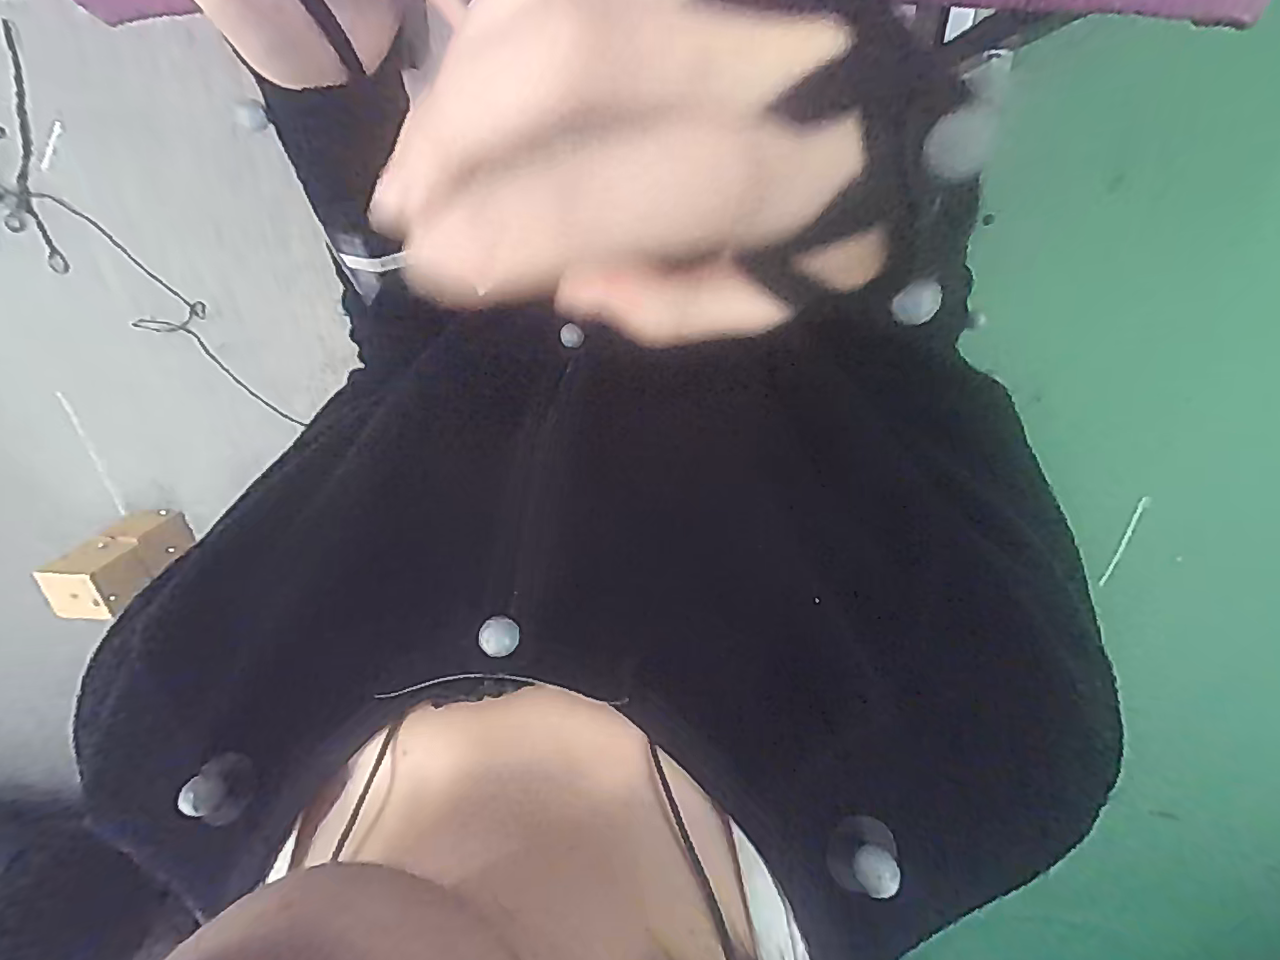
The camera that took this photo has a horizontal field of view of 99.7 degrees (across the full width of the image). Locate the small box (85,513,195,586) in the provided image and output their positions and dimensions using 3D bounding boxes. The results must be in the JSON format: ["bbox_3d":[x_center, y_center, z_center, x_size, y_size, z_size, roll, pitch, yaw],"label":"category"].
[{"bbox_3d":[-1.612,0.222,1.756,0.168,0.176,0.179,2,118,4],"label":"small box"}]

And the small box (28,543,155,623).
[{"bbox_3d":[-1.624,0.302,1.613,0.179,0.176,0.168,3,117,4],"label":"small box"}]
